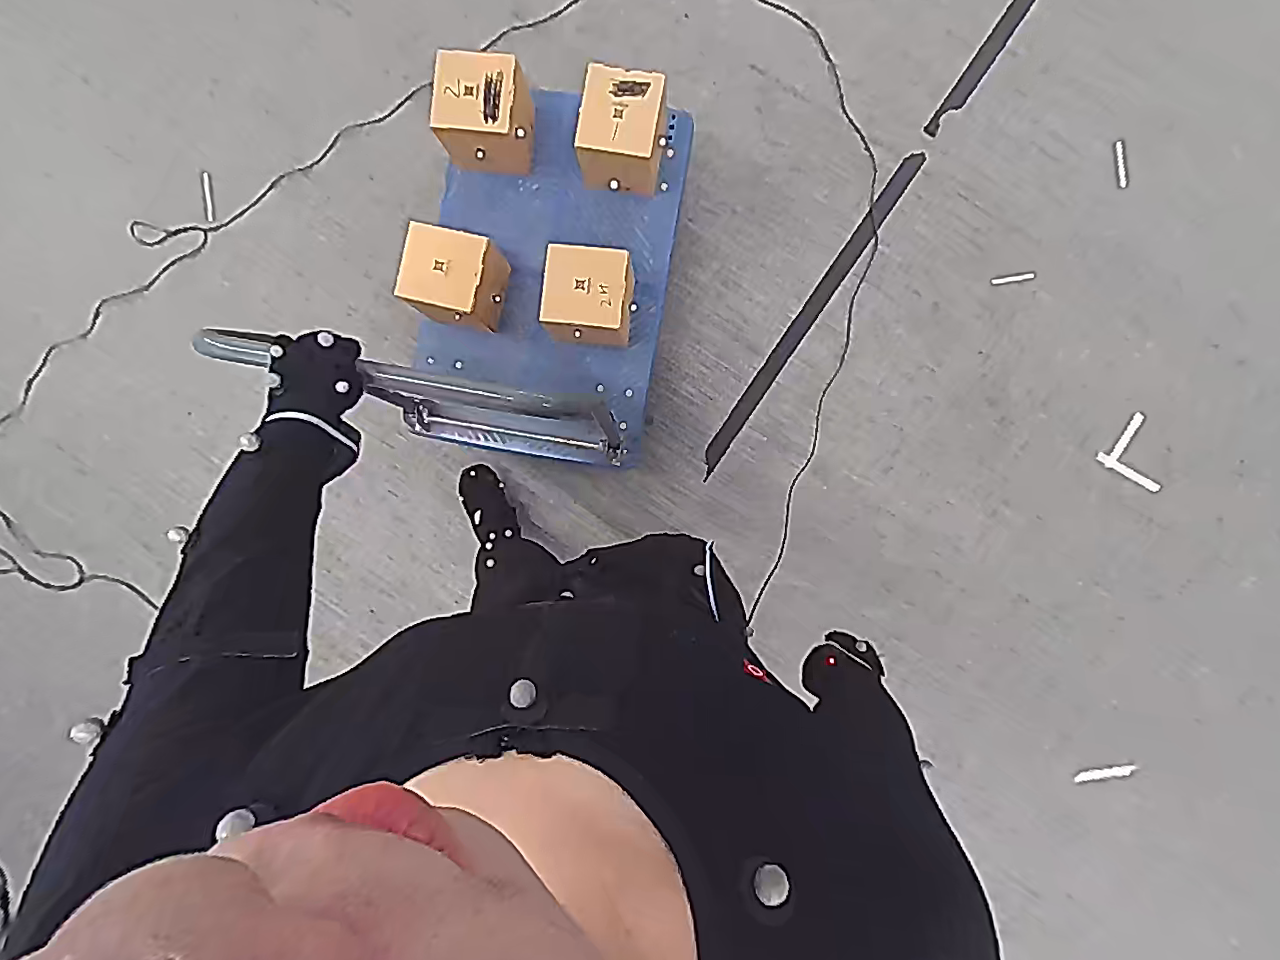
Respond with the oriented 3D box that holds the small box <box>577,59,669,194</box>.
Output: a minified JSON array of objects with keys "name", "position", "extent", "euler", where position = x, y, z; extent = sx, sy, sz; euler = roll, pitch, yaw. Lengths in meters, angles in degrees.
[{"name":"small box","position":[-0.033,-0.773,1.198],"extent":[0.168,0.176,0.179],"euler":[12,93,3]}]

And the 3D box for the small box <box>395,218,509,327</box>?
[{"name":"small box","position":[-0.417,-0.460,1.225],"extent":[0.179,0.176,0.168],"euler":[13,91,1]}]

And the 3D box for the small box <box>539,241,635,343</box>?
[{"name":"small box","position":[-0.111,-0.411,1.208],"extent":[0.179,0.176,0.168],"euler":[7,91,3]}]
